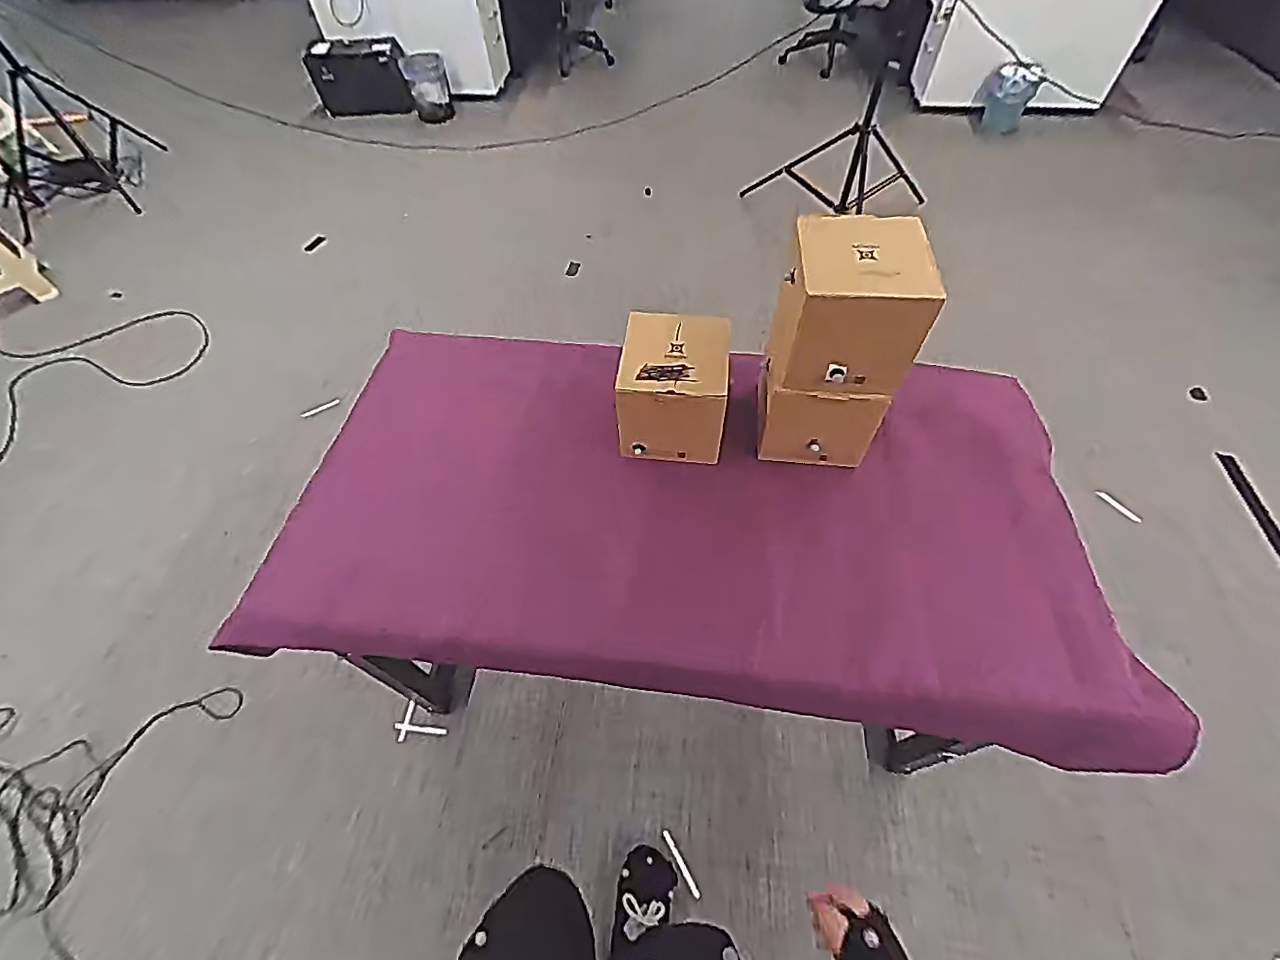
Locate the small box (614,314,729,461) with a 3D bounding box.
[{"bbox_3d":[0.055,-0.149,0.896,0.168,0.176,0.179,5,56,5],"label":"small box"}]

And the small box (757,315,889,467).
[{"bbox_3d":[0.287,-0.145,0.888,0.168,0.176,0.179,5,56,6],"label":"small box"}]

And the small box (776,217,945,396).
[{"bbox_3d":[0.290,-0.240,0.756,0.168,0.176,0.179,3,57,4],"label":"small box"}]
